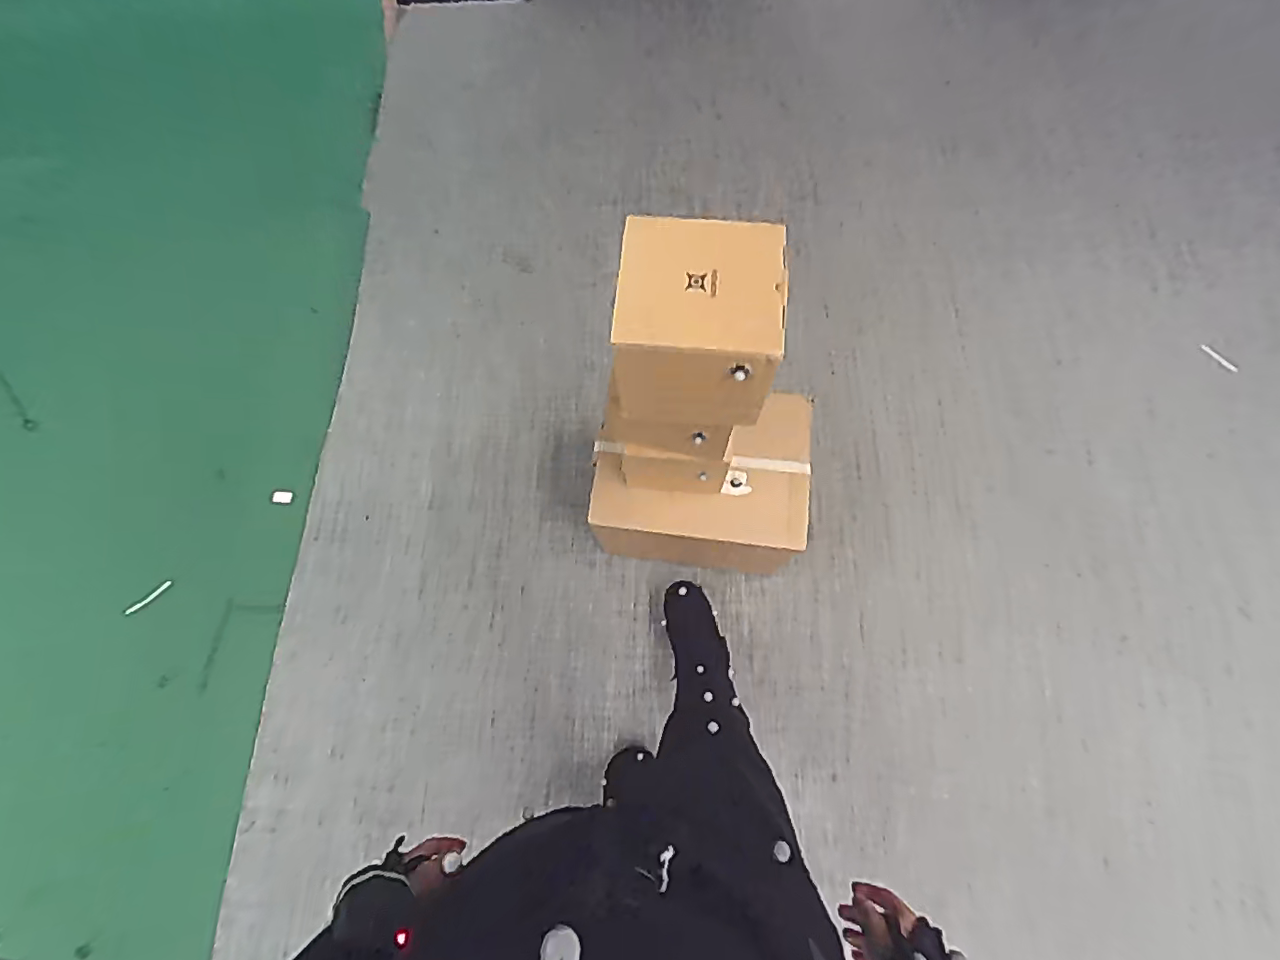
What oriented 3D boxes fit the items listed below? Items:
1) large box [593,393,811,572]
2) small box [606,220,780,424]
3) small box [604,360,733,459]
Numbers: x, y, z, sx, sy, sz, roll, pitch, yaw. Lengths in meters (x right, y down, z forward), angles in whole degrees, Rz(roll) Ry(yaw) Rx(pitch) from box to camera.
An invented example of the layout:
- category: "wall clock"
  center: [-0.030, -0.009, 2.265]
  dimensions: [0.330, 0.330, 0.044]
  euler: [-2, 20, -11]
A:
- category: "large box"
  center: [0.127, 0.008, 1.175]
  dimensions: [0.408, 0.320, 0.320]
  euler: [6, 73, 4]
- category: "small box"
  center: [0.062, -0.177, 0.639]
  dimensions: [0.179, 0.176, 0.168]
  euler: [4, 70, 3]
- category: "small box"
  center: [0.057, -0.142, 0.799]
  dimensions: [0.179, 0.176, 0.168]
  euler: [10, 71, 7]
